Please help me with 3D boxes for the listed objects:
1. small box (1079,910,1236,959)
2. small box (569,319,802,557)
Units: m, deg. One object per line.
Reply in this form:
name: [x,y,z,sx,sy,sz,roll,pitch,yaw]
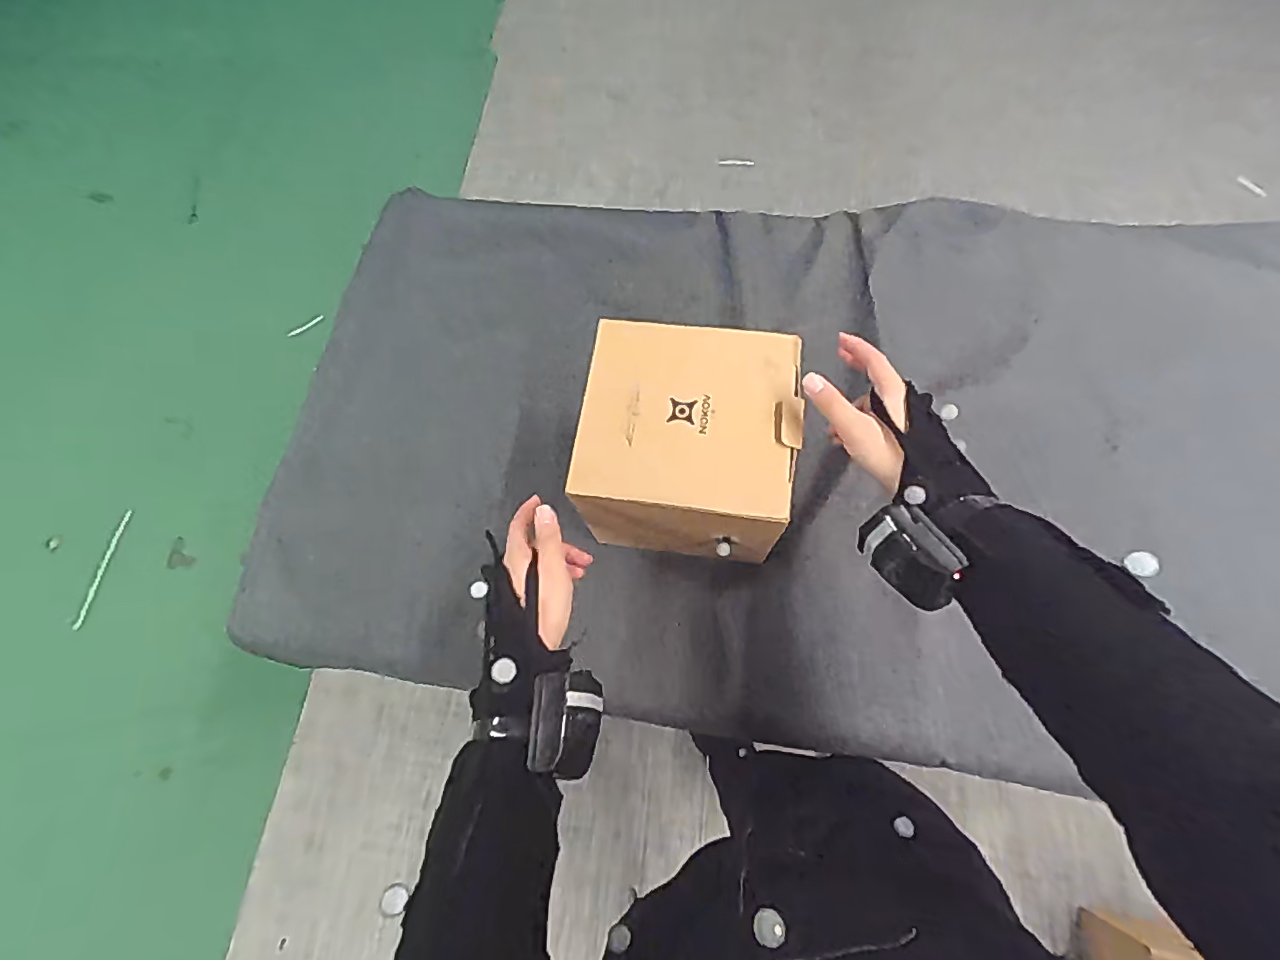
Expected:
small box: [0.885,0.855,0.897,0.179,0.176,0.168,7,70,8]
small box: [0.047,-0.029,0.516,0.179,0.176,0.168,6,69,8]
